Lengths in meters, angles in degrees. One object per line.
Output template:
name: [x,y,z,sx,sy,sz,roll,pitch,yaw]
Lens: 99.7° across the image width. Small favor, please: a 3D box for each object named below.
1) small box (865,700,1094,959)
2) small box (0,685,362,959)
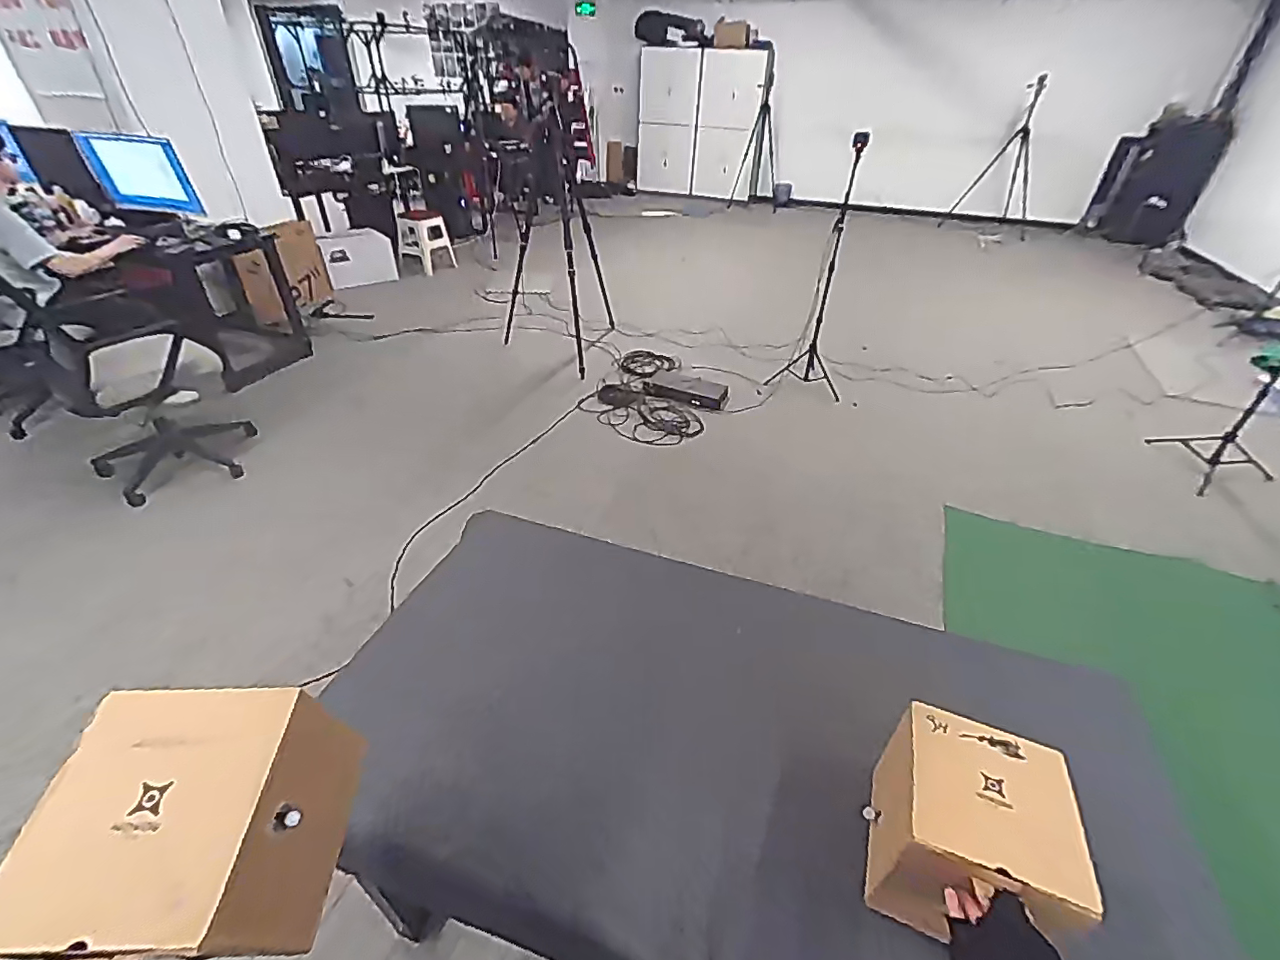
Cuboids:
small box: [0.371,0.403,0.626,0.168,0.176,0.179,16,35,17]
small box: [-0.369,0.295,0.467,0.168,0.176,0.179,0,48,-2]
